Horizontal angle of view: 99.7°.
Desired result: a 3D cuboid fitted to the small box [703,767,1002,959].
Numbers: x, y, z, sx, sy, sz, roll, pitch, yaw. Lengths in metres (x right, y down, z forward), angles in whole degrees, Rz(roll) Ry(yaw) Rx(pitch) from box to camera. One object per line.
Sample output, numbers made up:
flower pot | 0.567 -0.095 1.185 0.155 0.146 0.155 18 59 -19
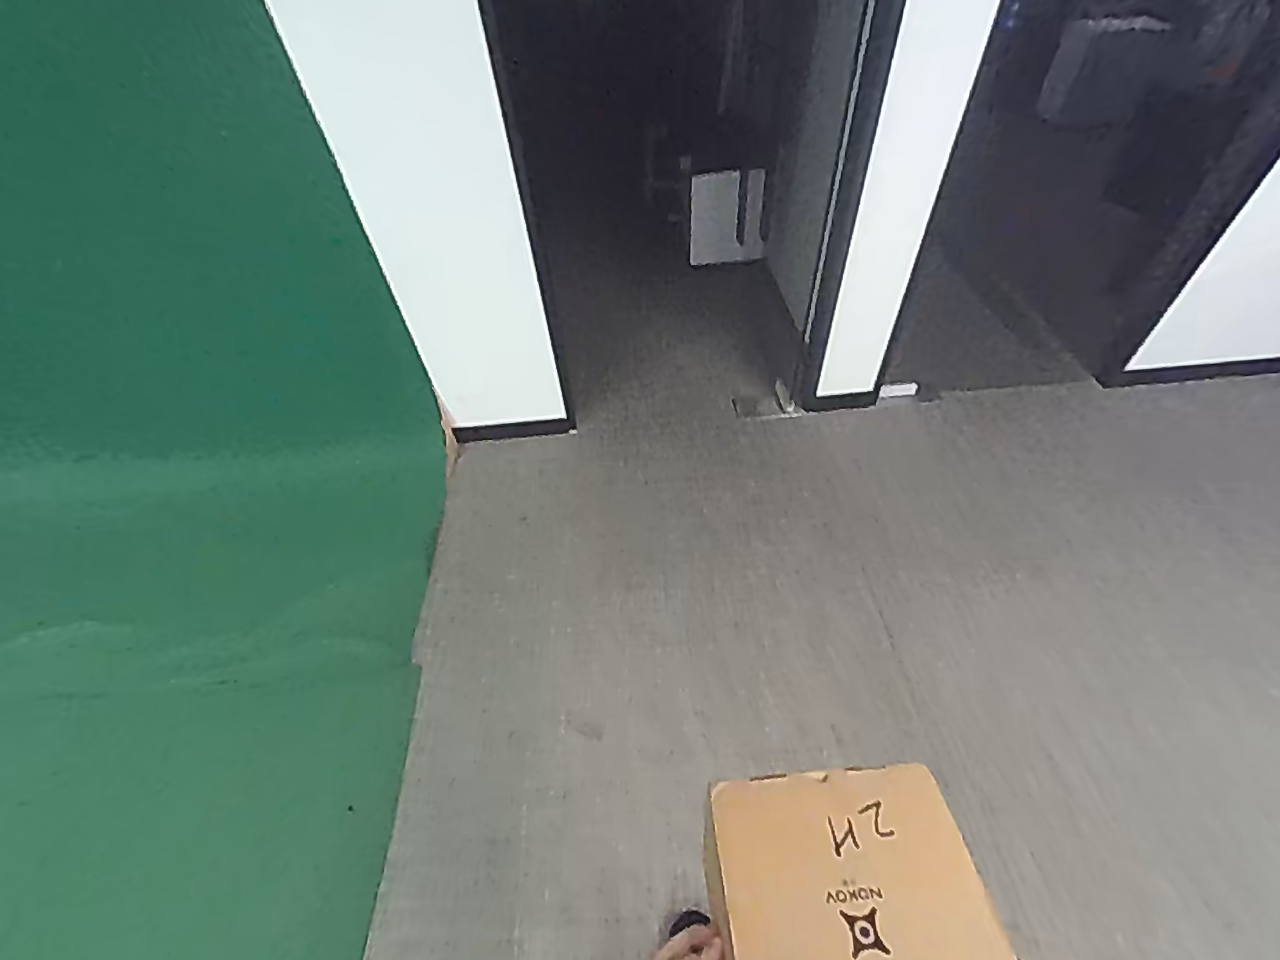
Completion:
small box | 0.138 0.338 0.391 0.168 0.176 0.179 -4 38 0
